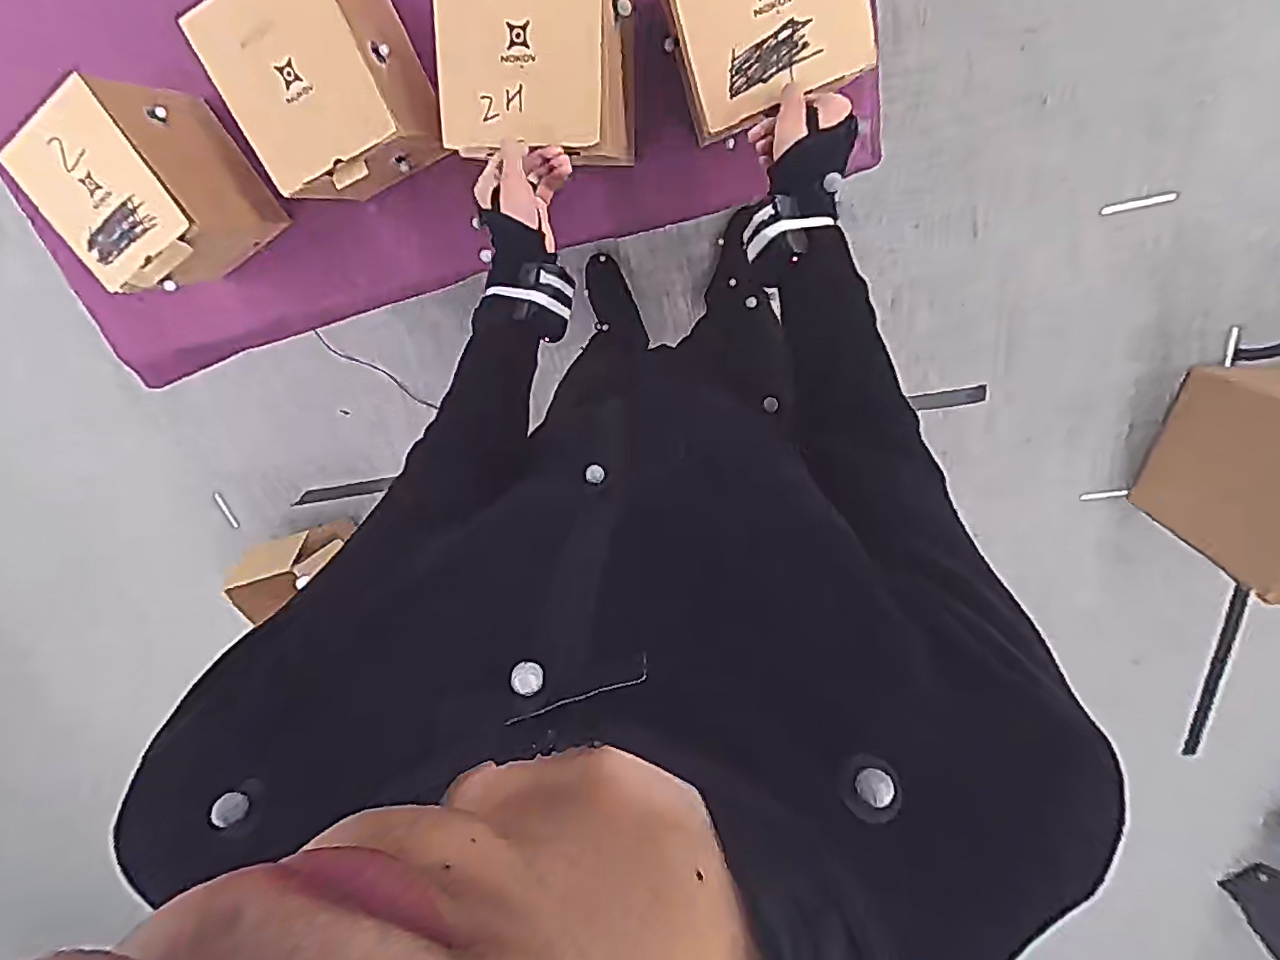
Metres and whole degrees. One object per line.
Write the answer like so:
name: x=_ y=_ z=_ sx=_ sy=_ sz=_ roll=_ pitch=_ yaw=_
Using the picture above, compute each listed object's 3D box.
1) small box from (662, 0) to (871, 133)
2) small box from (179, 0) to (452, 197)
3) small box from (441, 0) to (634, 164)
small box: x=0.117 y=-0.479 z=0.552 sx=0.168 sy=0.176 sz=0.179 roll=-16 pitch=114 yaw=12
small box: x=-0.351 y=-0.453 z=0.628 sx=0.168 sy=0.176 sz=0.179 roll=-18 pitch=114 yaw=14
small box: x=-0.100 y=-0.455 z=0.594 sx=0.168 sy=0.176 sz=0.179 roll=3 pitch=118 yaw=6
